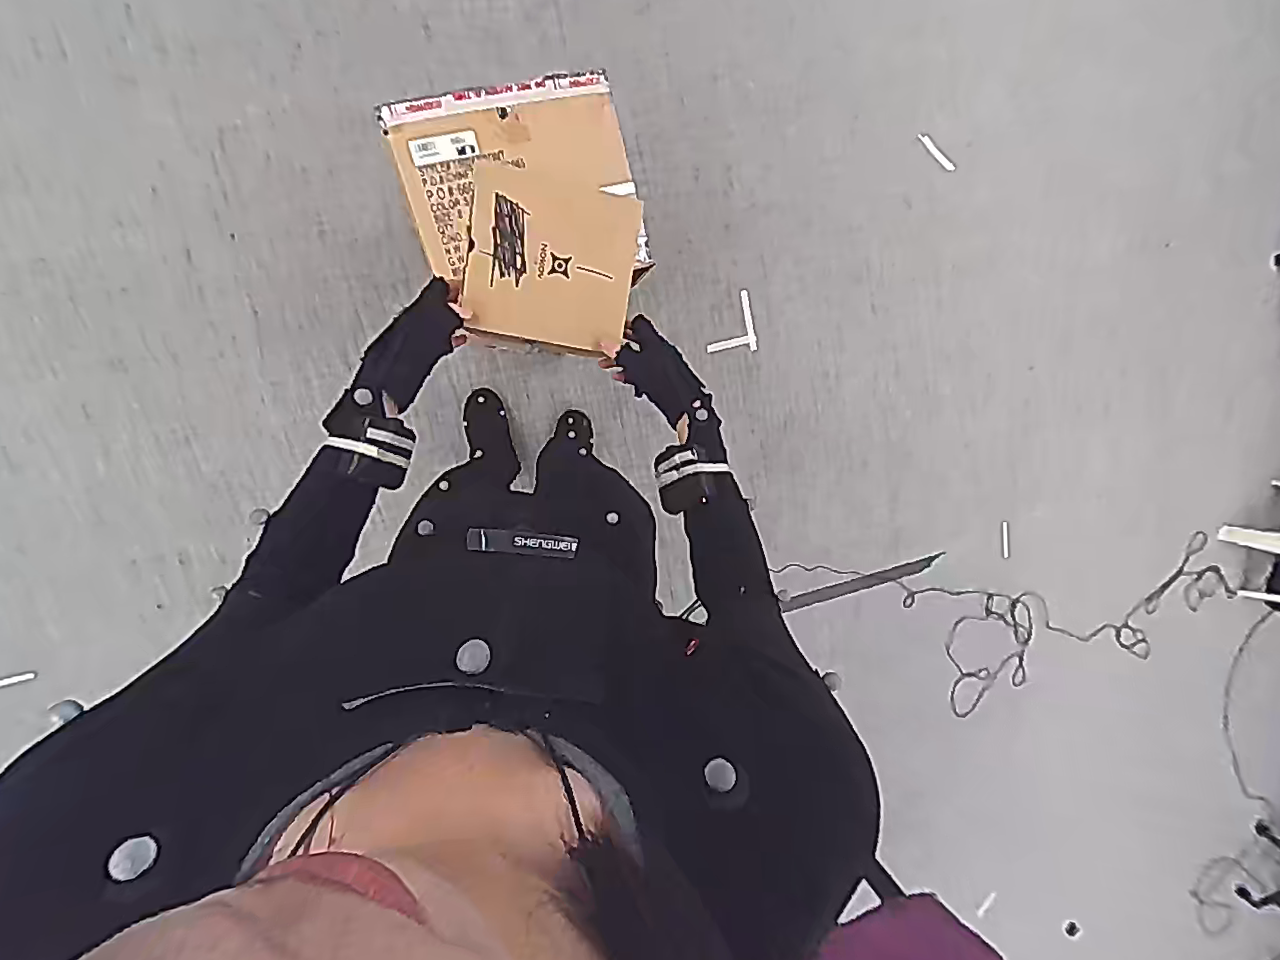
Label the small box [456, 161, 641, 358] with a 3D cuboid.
[{"bbox_3d":[-0.112,-0.244,0.649,0.179,0.176,0.168,8,98,-14],"label":"small box"}]
